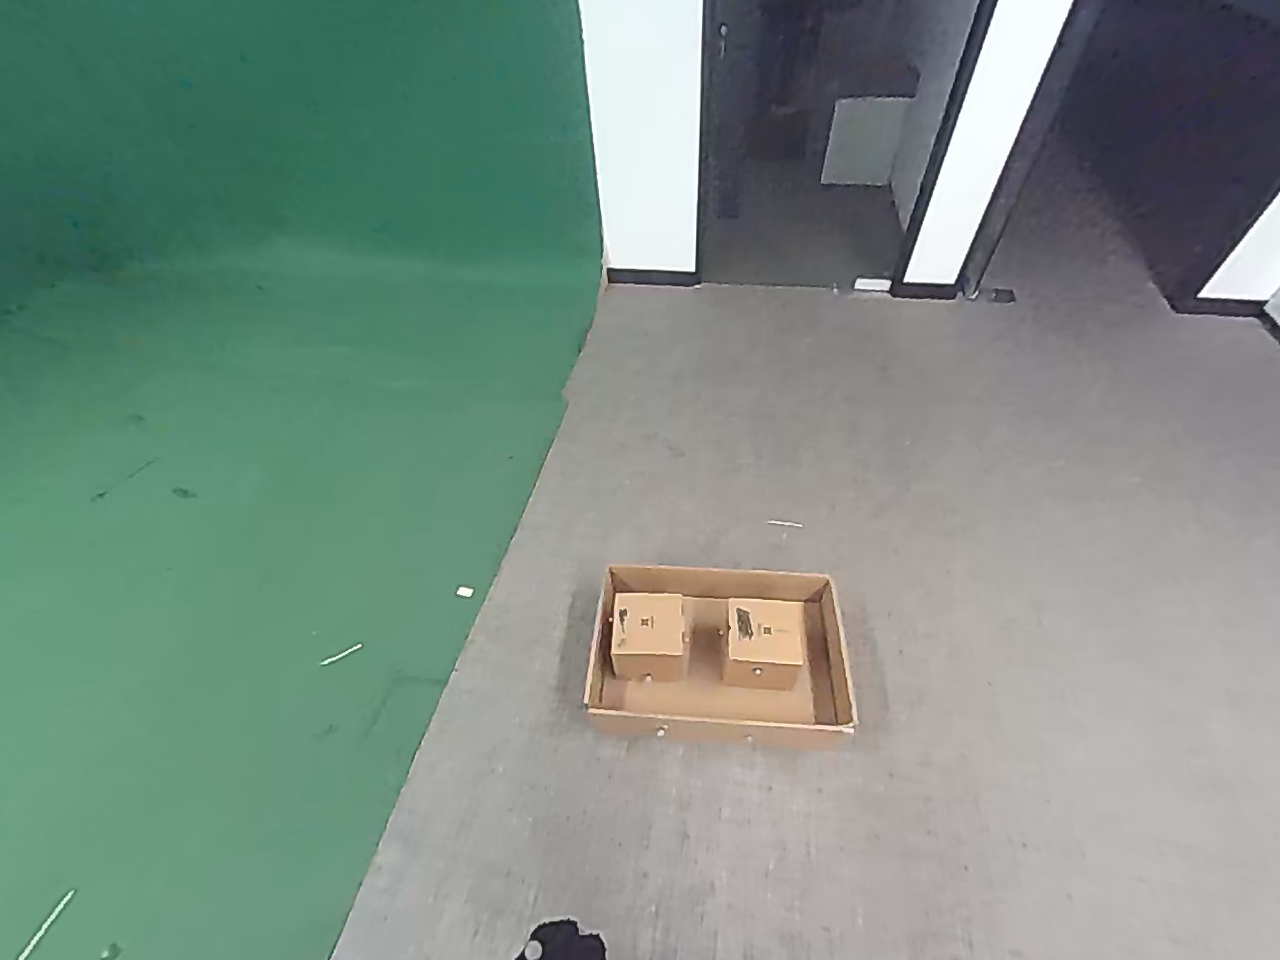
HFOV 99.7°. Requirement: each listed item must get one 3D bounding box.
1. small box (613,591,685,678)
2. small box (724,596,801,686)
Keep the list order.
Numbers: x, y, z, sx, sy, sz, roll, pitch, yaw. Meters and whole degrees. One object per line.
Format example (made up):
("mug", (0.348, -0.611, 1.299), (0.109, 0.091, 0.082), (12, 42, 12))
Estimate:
("small box", (0.025, 0.404, 1.406), (0.179, 0.176, 0.168), (1, 49, 3))
("small box", (0.306, 0.413, 1.380), (0.179, 0.176, 0.168), (2, 50, 6))
